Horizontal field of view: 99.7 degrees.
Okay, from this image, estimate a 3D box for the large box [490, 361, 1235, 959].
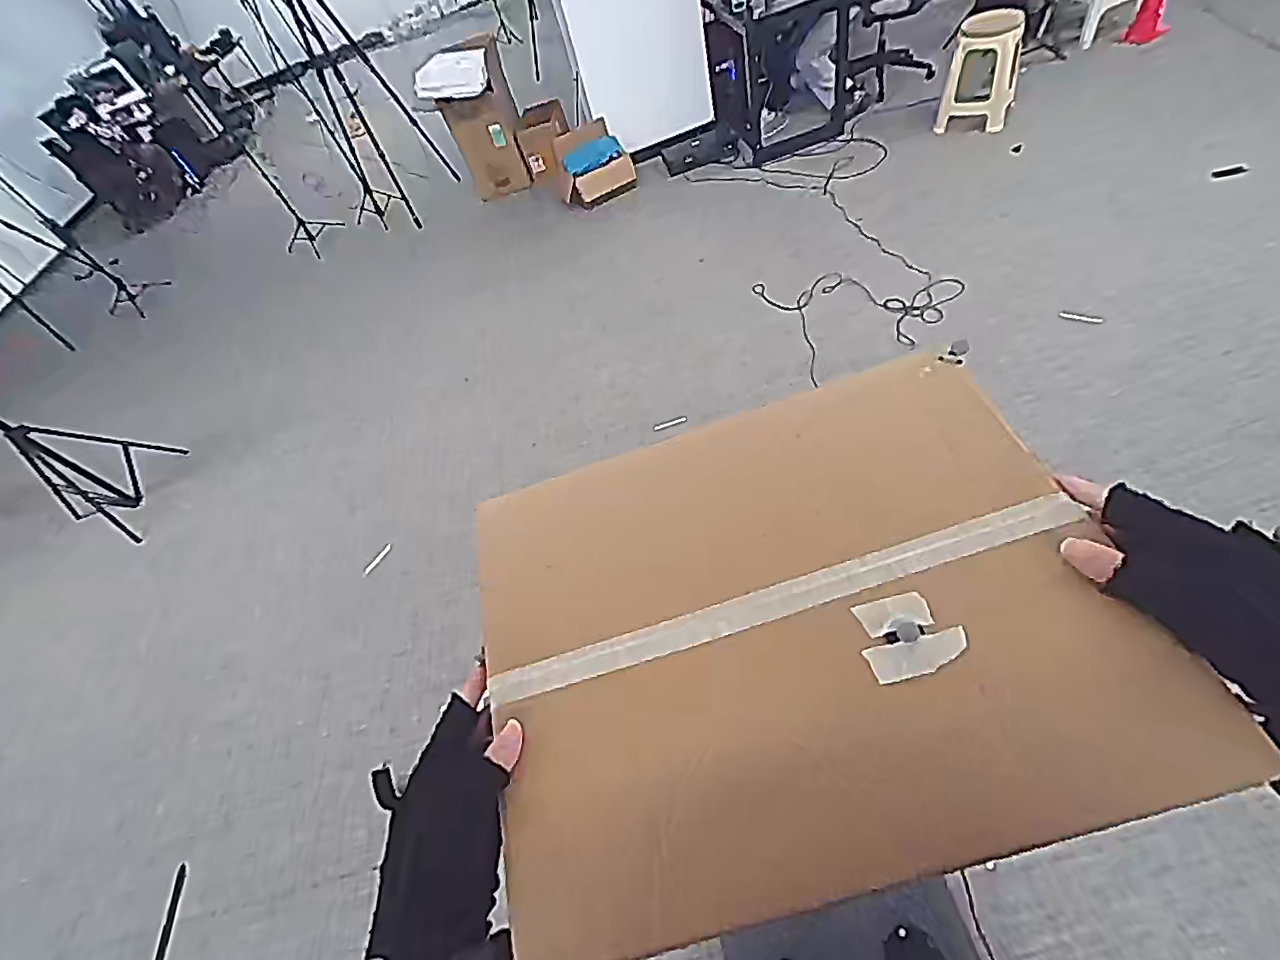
[{"bbox_3d":[0.124,0.162,0.498,0.408,0.320,0.320,-19,57,3],"label":"large box"}]
